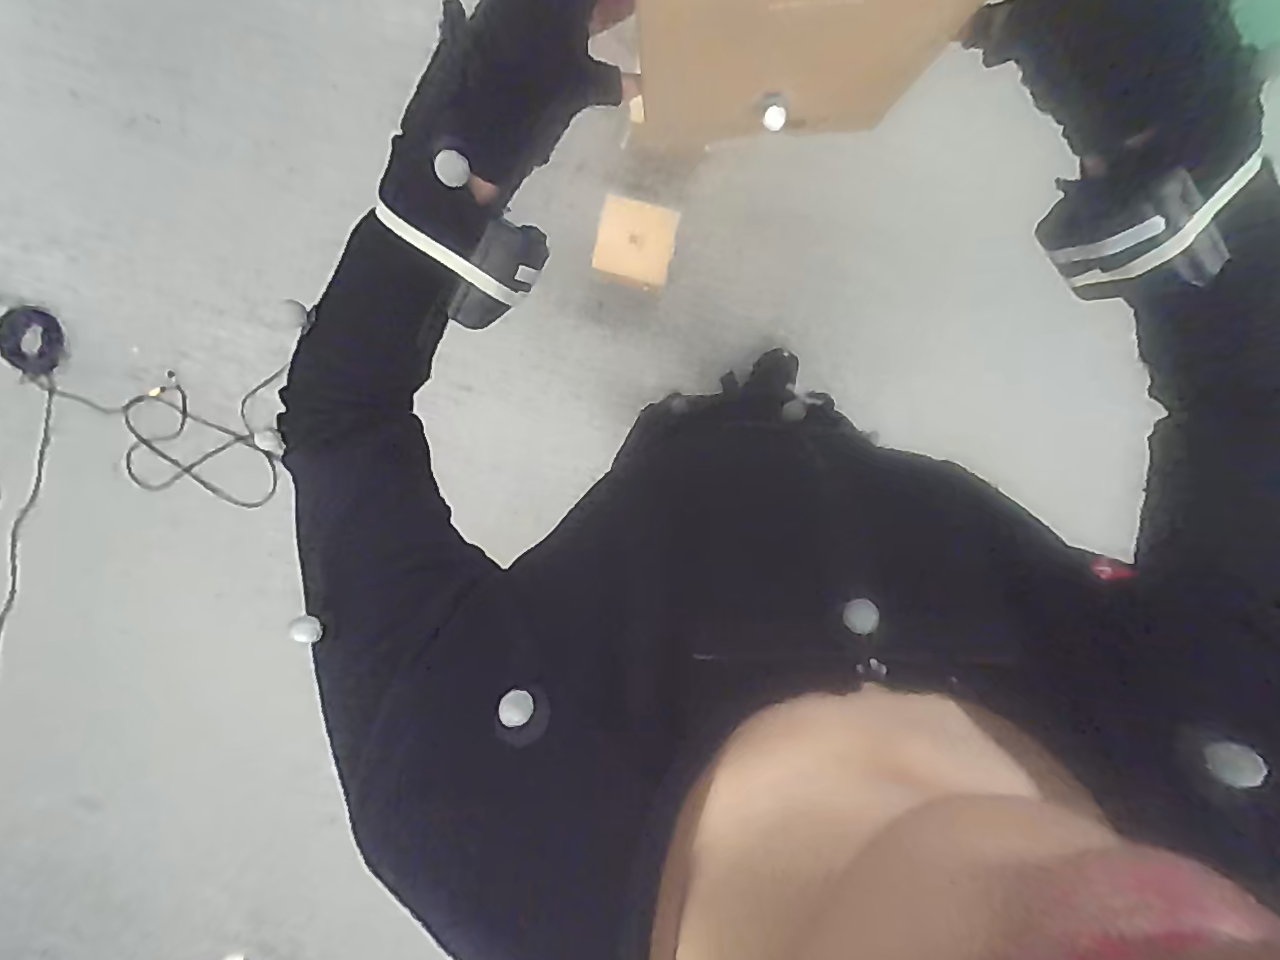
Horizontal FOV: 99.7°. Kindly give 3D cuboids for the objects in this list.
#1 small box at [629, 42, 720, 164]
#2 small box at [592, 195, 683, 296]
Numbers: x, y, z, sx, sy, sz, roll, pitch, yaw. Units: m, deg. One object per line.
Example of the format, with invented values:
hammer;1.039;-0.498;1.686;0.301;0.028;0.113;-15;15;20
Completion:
small box;0.076;-0.856;1.247;0.179;0.176;0.168;9;99;1
small box;-0.005;-0.552;1.299;0.179;0.176;0.168;13;100;-1
